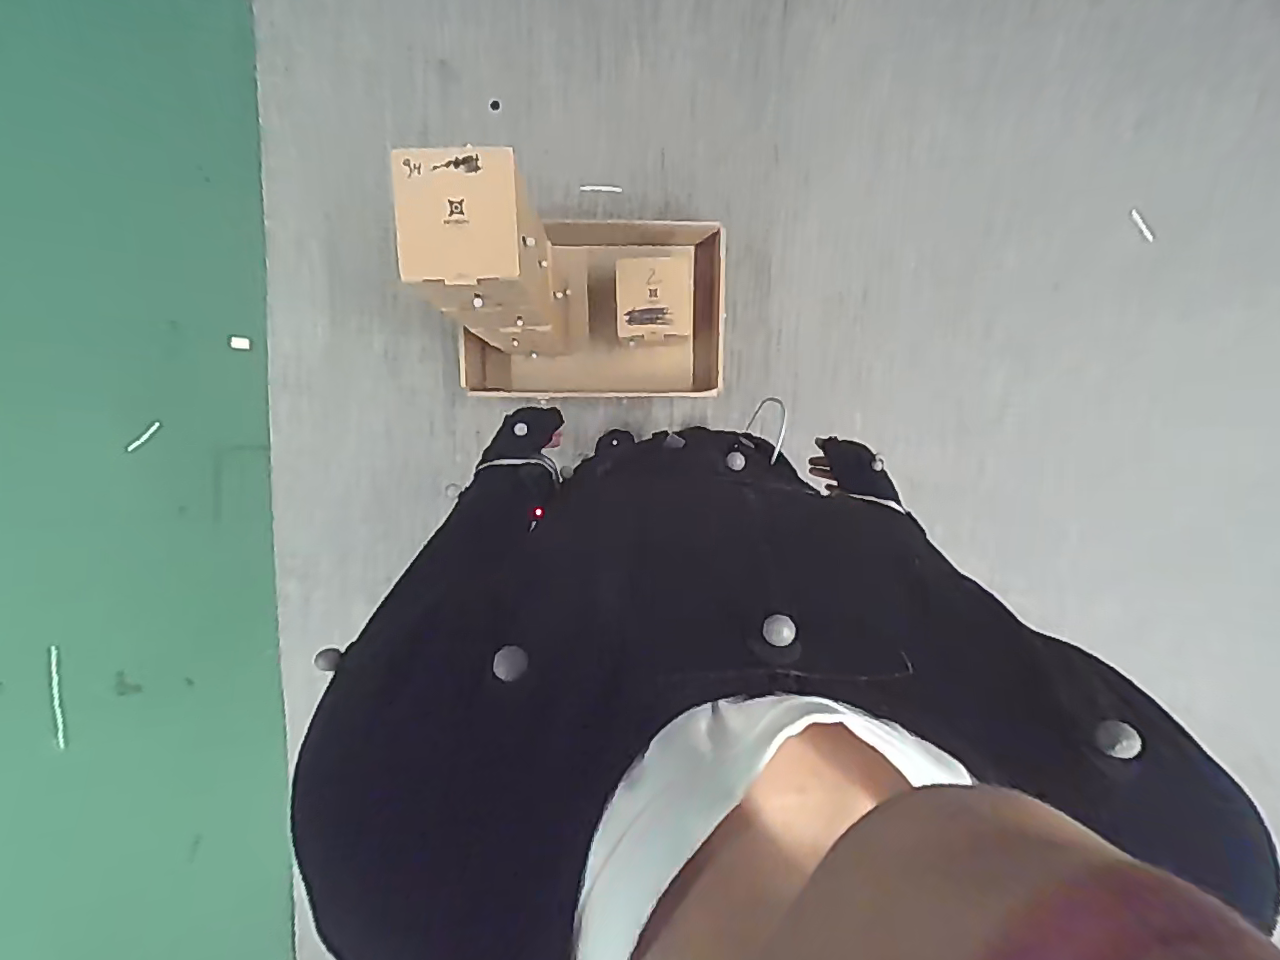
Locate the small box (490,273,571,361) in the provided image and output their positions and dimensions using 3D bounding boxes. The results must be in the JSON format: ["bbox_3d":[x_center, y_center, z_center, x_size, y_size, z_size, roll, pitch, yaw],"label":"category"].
[{"bbox_3d":[-0.258,-0.389,1.302,0.168,0.176,0.179,2,95,-1],"label":"small box"}]

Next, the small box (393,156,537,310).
[{"bbox_3d":[-0.250,-0.356,0.812,0.168,0.176,0.179,-1,96,-2],"label":"small box"}]

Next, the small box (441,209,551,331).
[{"bbox_3d":[-0.254,-0.368,0.975,0.168,0.176,0.179,-1,95,-2],"label":"small box"}]

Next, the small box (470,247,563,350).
[{"bbox_3d":[-0.255,-0.376,1.139,0.168,0.176,0.179,0,96,-1],"label":"small box"}]
